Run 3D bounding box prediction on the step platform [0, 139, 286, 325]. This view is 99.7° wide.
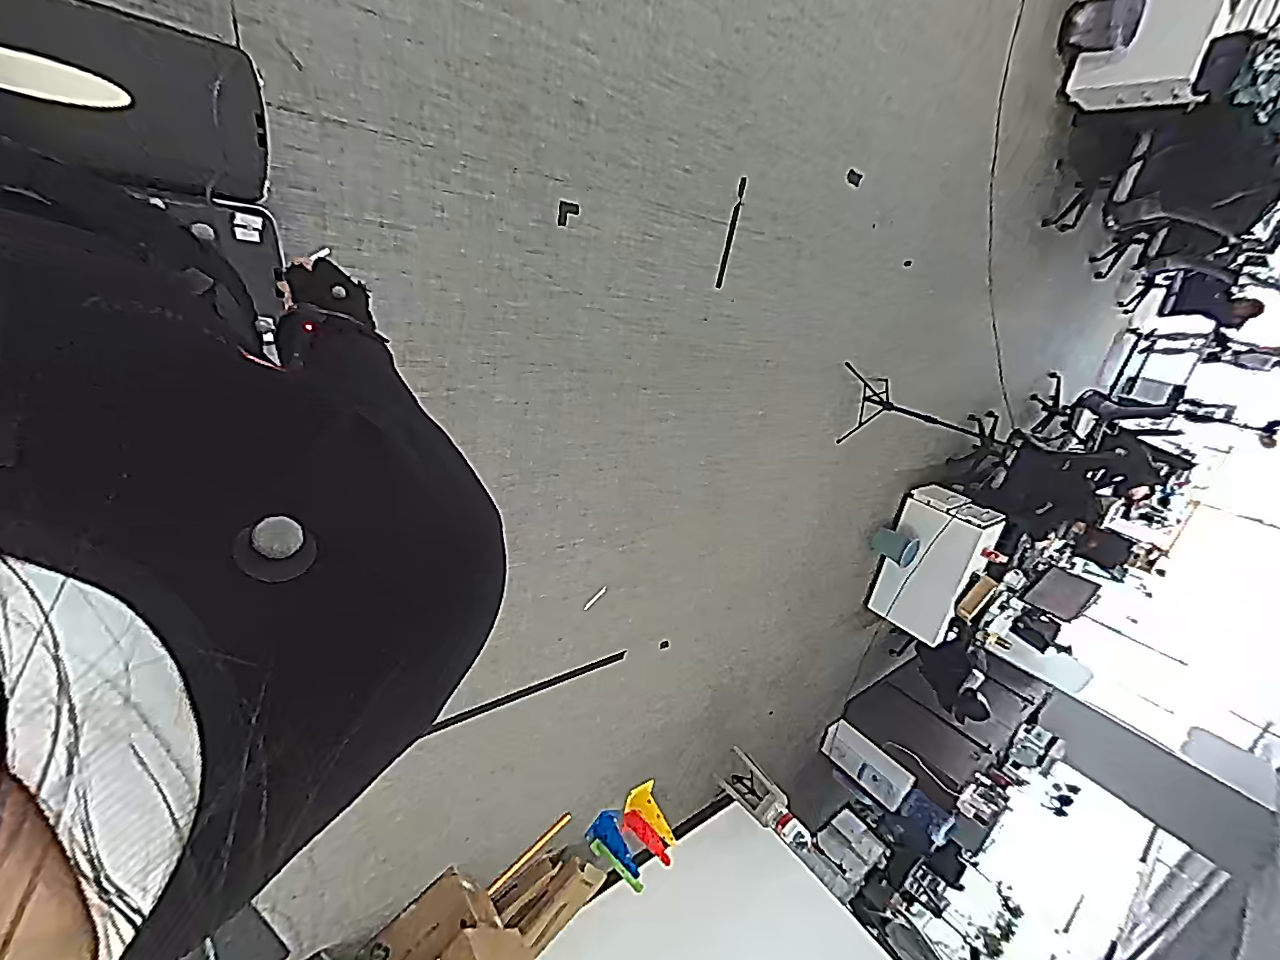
[{"bbox_3d":[-1.071,-0.460,1.012,0.684,0.204,0.286,-8,118,-37],"label":"step platform"}]
